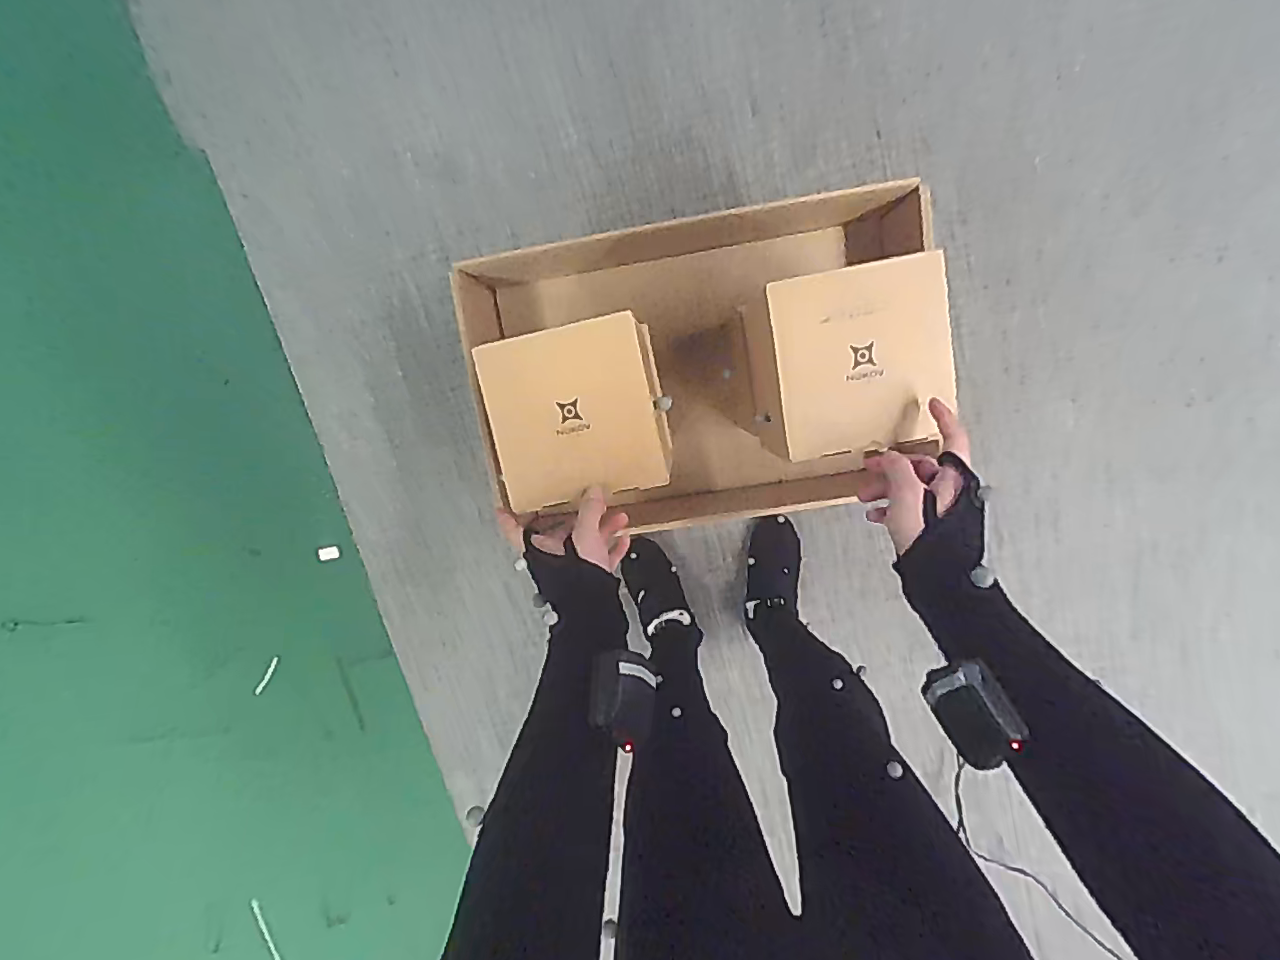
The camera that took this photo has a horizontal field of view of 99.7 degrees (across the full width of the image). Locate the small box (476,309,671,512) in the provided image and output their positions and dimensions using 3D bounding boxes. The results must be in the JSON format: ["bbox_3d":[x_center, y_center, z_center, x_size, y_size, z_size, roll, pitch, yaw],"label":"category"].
[{"bbox_3d":[-0.062,-0.077,0.610,0.168,0.176,0.179,-11,99,5],"label":"small box"}]

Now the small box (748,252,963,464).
[{"bbox_3d":[0.217,-0.123,0.583,0.168,0.176,0.179,-9,97,4],"label":"small box"}]

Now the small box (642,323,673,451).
[{"bbox_3d":[-0.050,-0.114,0.769,0.179,0.176,0.168,-11,98,4],"label":"small box"}]
